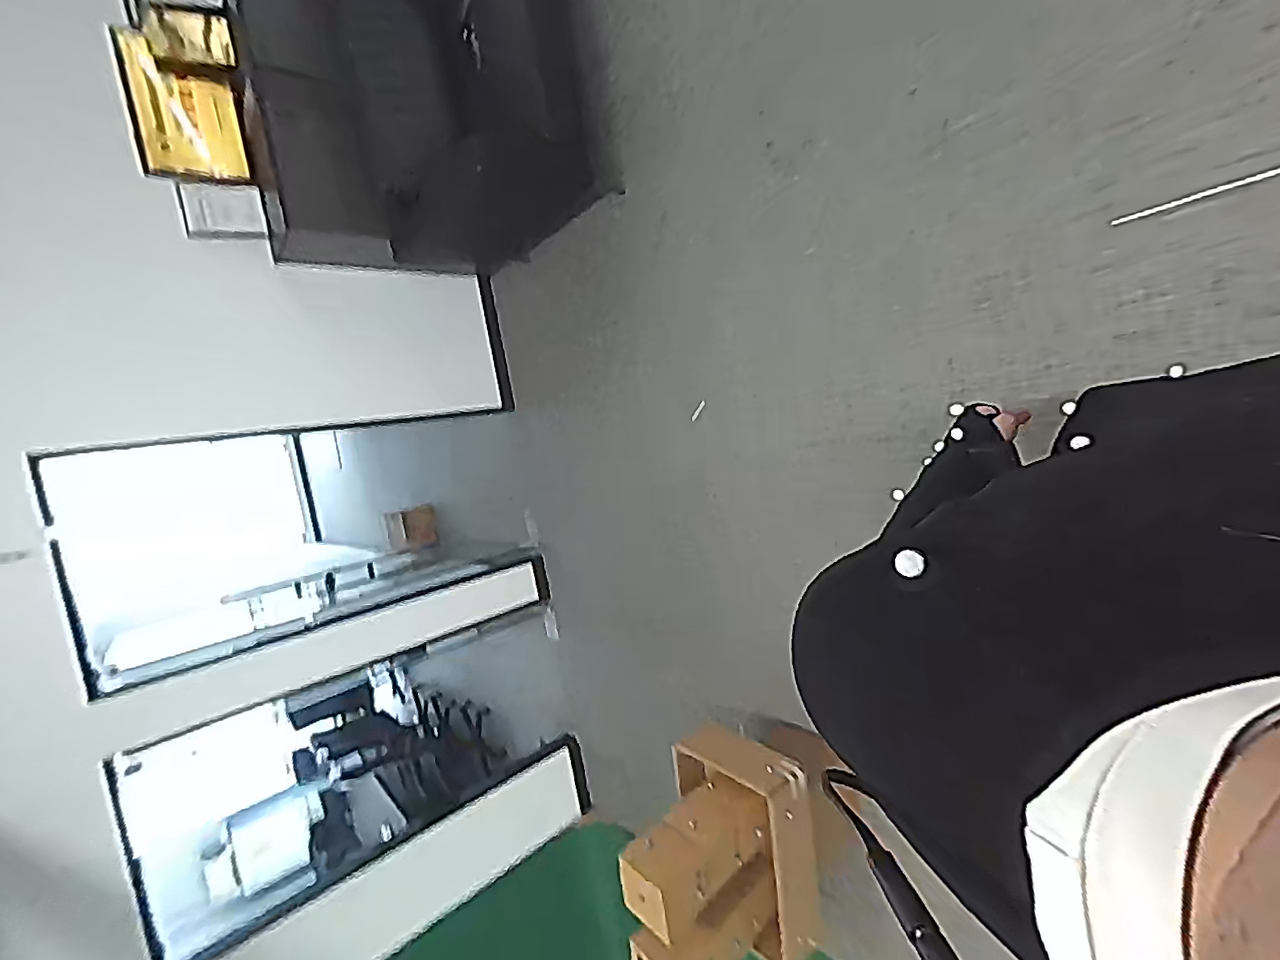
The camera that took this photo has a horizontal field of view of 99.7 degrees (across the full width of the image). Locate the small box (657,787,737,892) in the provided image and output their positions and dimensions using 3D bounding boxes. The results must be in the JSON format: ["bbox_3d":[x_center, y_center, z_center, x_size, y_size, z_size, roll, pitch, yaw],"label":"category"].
[{"bbox_3d":[0.179,1.072,1.634,0.179,0.176,0.168,3,102,49],"label":"small box"}]

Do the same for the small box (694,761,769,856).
[{"bbox_3d":[0.301,1.043,1.740,0.179,0.176,0.168,3,103,49],"label":"small box"}]

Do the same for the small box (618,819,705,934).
[{"bbox_3d":[0.061,1.101,1.525,0.179,0.176,0.168,4,103,47],"label":"small box"}]

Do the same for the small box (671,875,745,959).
[{"bbox_3d":[0.210,1.343,1.668,0.179,0.176,0.168,5,102,48],"label":"small box"}]
